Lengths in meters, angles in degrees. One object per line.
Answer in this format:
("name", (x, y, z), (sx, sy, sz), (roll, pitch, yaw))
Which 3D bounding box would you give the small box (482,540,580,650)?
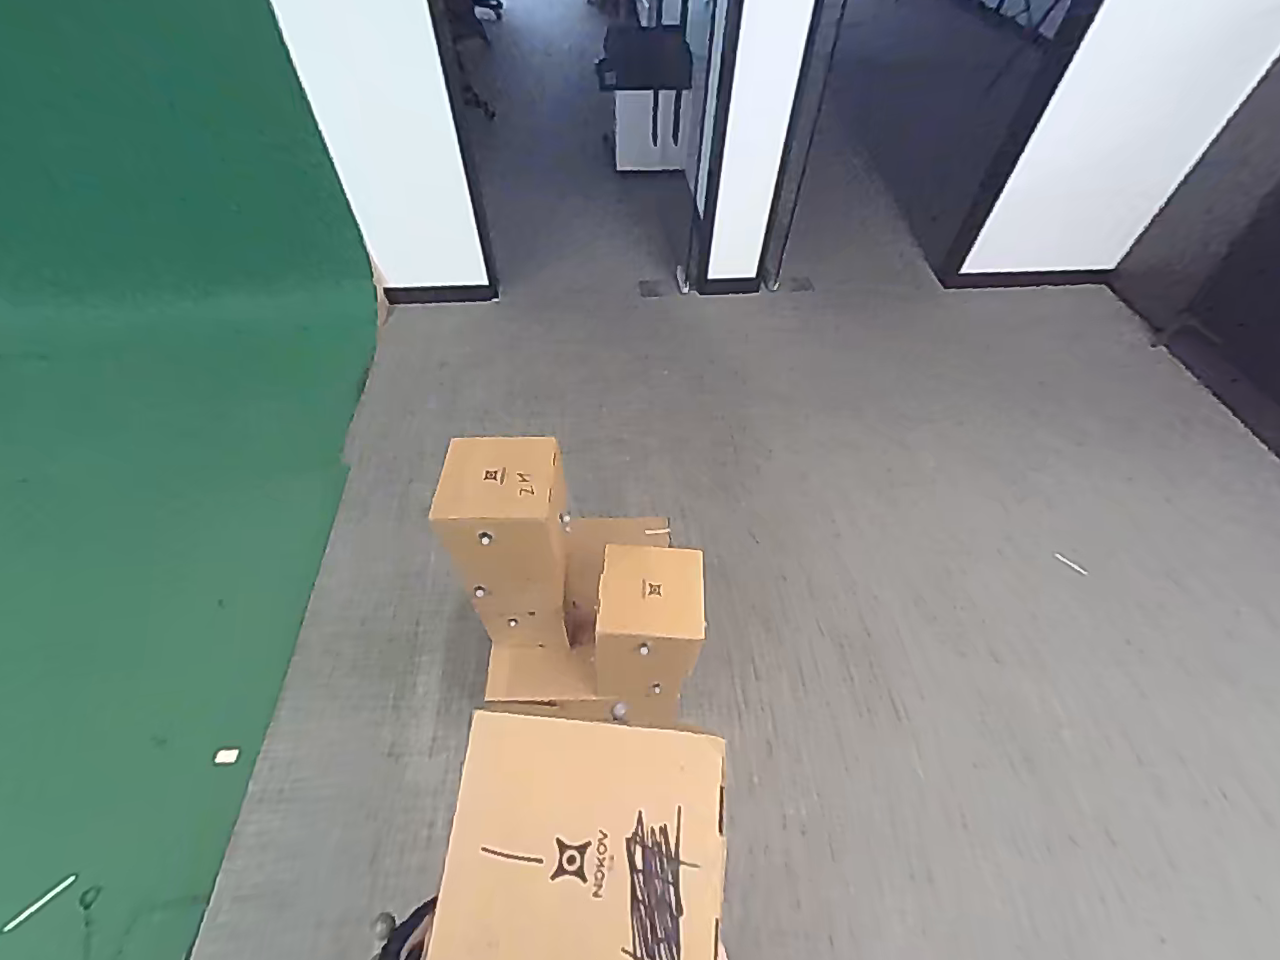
("small box", (-0.222, 0.243, 1.153), (0.168, 0.176, 0.179), (2, 50, 1))

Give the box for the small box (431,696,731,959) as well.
("small box", (-0.035, 0.264, 0.418), (0.179, 0.176, 0.168), (6, 68, 0))

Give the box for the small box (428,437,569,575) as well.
("small box", (-0.218, 0.045, 0.888), (0.179, 0.176, 0.168), (0, 51, 0))

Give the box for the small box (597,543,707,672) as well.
("small box", (0.019, 0.231, 0.960), (0.179, 0.176, 0.168), (4, 51, 0))

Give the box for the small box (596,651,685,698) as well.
("small box", (0.004, 0.326, 1.091), (0.168, 0.176, 0.179), (4, 50, -1))
